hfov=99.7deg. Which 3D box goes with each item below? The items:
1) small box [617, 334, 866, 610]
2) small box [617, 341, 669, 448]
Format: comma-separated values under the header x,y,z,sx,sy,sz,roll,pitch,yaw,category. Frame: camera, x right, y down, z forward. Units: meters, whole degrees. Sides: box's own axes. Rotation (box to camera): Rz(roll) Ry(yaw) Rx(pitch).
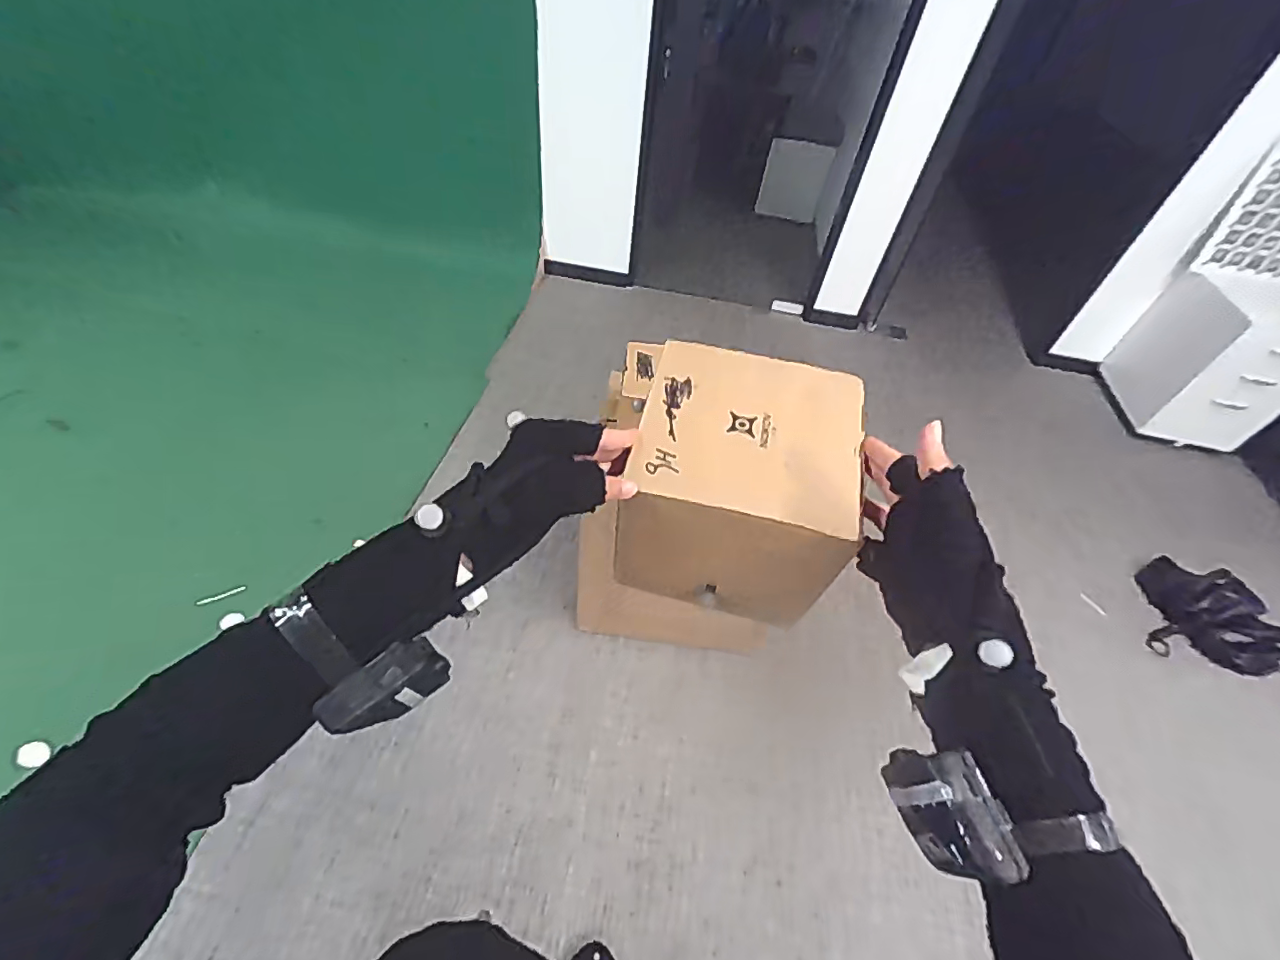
x,y,z,sx,sy,sz,roll,pitch,yaw,category
0.085,0.001,0.492,0.179,0.176,0.168,14,54,4,small box
0.046,-0.172,1.158,0.179,0.176,0.168,7,54,-2,small box
